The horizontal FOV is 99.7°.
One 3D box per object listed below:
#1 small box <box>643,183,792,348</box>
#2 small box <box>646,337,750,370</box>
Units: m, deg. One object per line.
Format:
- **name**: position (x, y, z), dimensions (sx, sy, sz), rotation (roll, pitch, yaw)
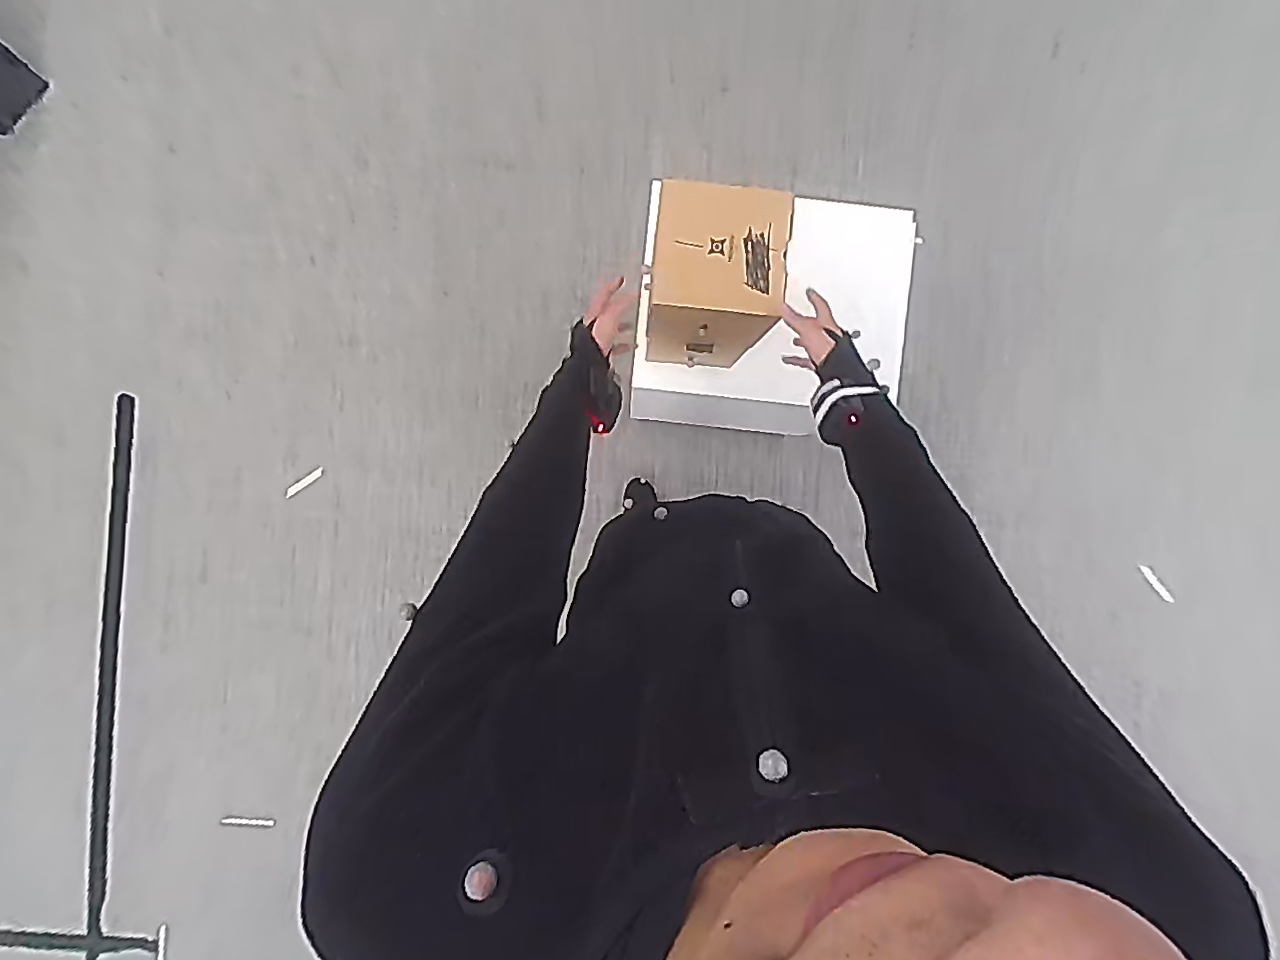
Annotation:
- **small box**: position (0.101, -0.292, 0.775), dimensions (0.179, 0.176, 0.168), rotation (5, 90, -1)
- **small box**: position (0.099, -0.300, 0.940), dimensions (0.168, 0.176, 0.179), rotation (5, 91, -1)
